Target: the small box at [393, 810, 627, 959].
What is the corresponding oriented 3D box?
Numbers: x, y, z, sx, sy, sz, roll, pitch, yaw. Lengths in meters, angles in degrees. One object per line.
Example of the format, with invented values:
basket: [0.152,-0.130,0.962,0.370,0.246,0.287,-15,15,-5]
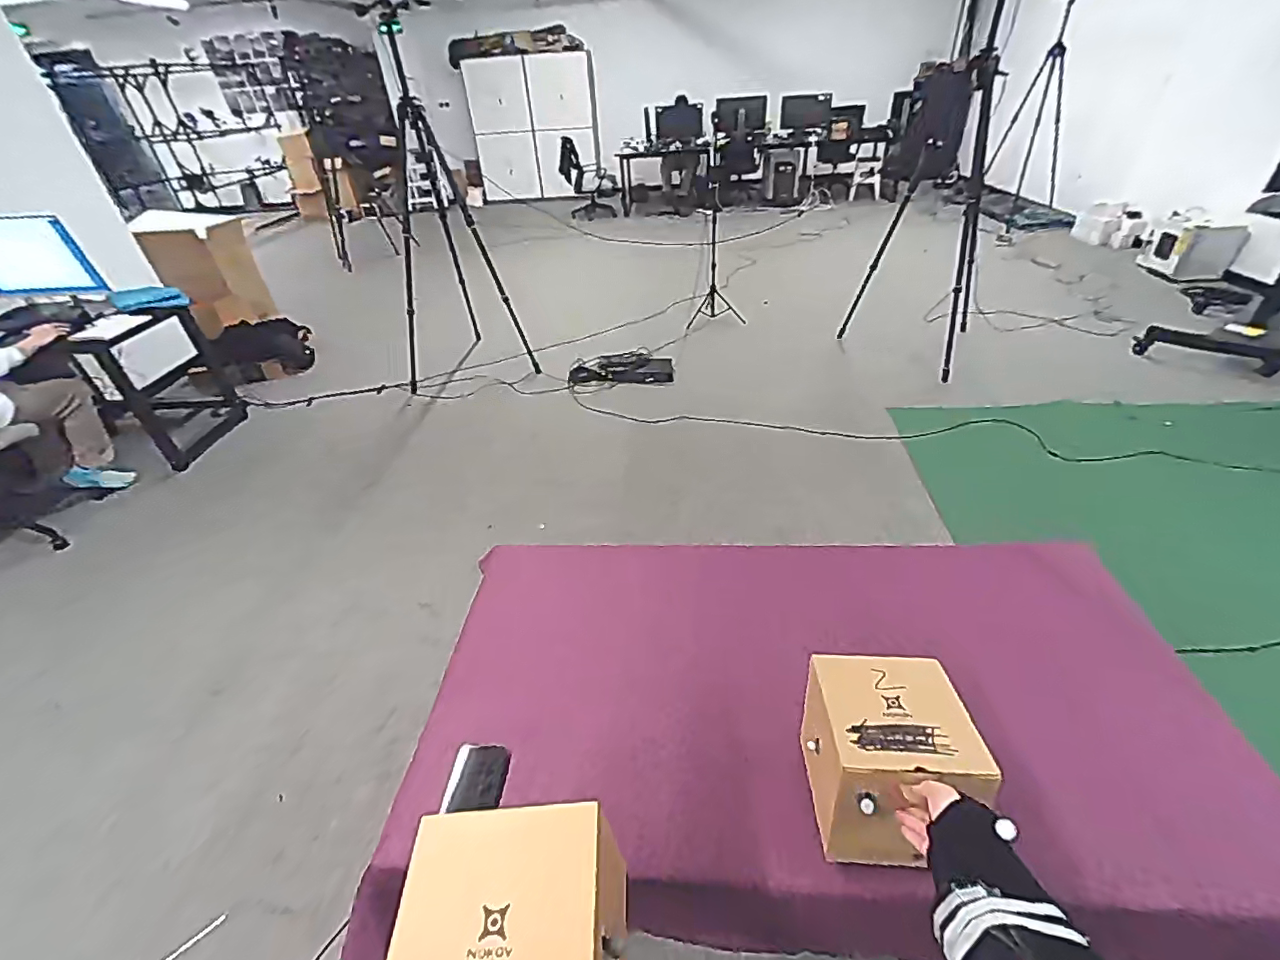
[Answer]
small box: [-0.105,0.424,0.479,0.168,0.176,0.179,-7,40,3]
